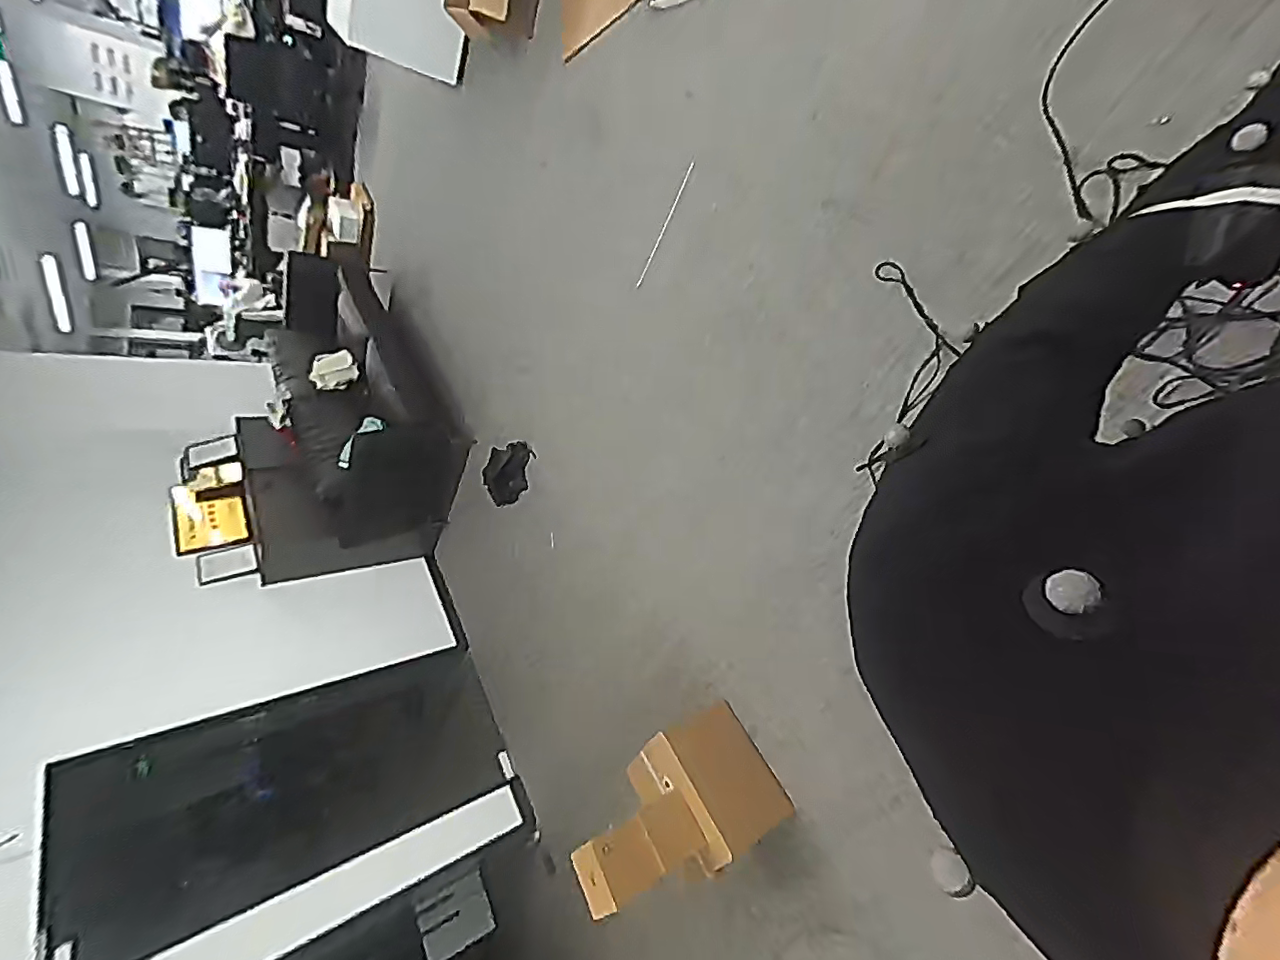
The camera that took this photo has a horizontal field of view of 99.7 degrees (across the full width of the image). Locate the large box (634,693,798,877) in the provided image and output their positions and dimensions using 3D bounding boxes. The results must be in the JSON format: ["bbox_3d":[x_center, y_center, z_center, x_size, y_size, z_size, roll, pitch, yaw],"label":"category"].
[{"bbox_3d":[0.248,1.019,1.842,0.408,0.320,0.320,55,132,32],"label":"large box"}]

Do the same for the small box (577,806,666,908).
[{"bbox_3d":[-0.051,1.092,1.573,0.179,0.176,0.168,58,135,29],"label":"small box"}]
